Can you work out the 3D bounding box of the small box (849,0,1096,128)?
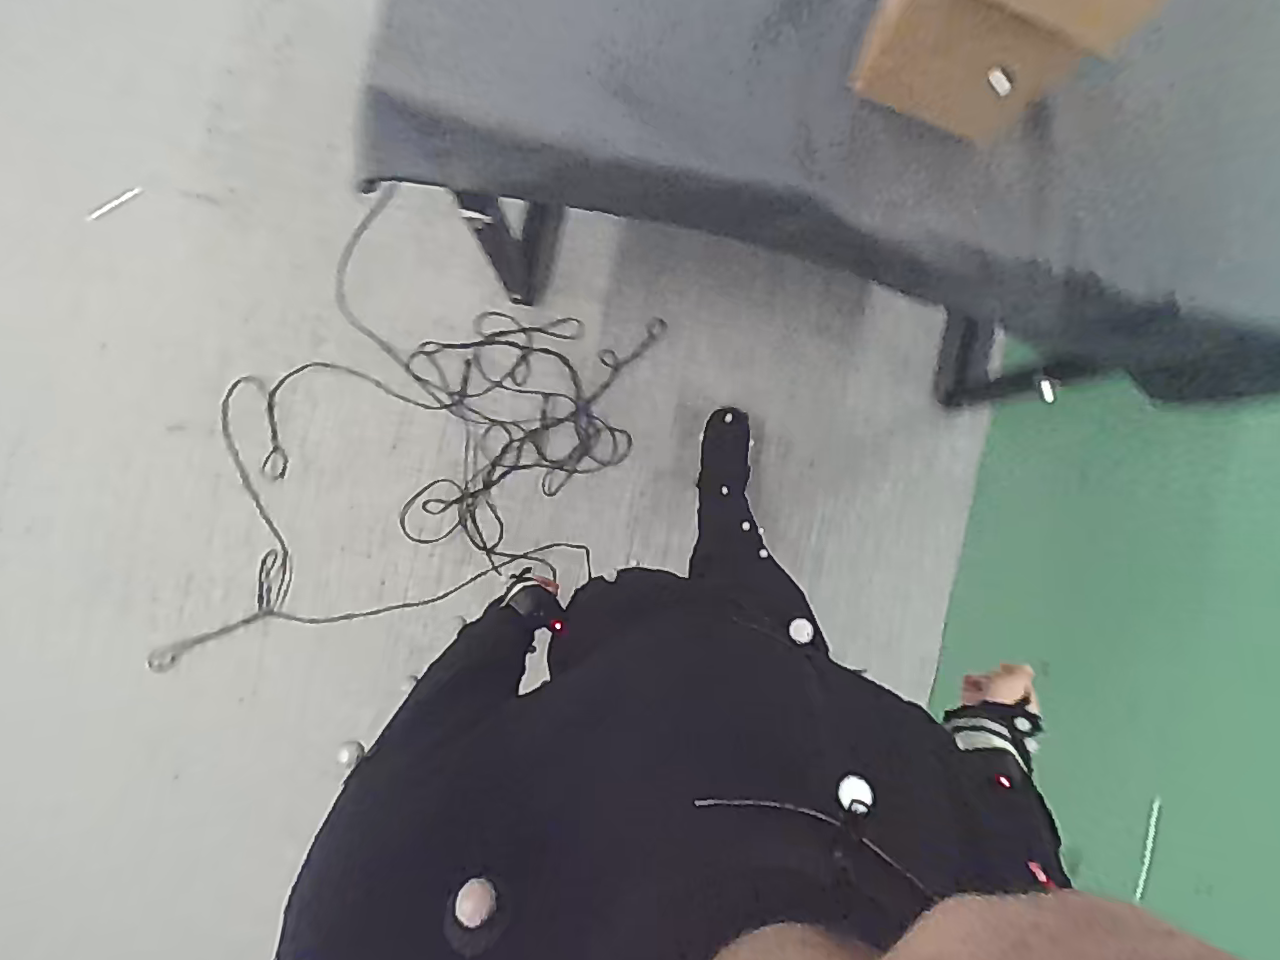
[{"bbox_3d":[0.351,-0.507,0.554,0.179,0.176,0.168,20,87,-1],"label":"small box"}]
